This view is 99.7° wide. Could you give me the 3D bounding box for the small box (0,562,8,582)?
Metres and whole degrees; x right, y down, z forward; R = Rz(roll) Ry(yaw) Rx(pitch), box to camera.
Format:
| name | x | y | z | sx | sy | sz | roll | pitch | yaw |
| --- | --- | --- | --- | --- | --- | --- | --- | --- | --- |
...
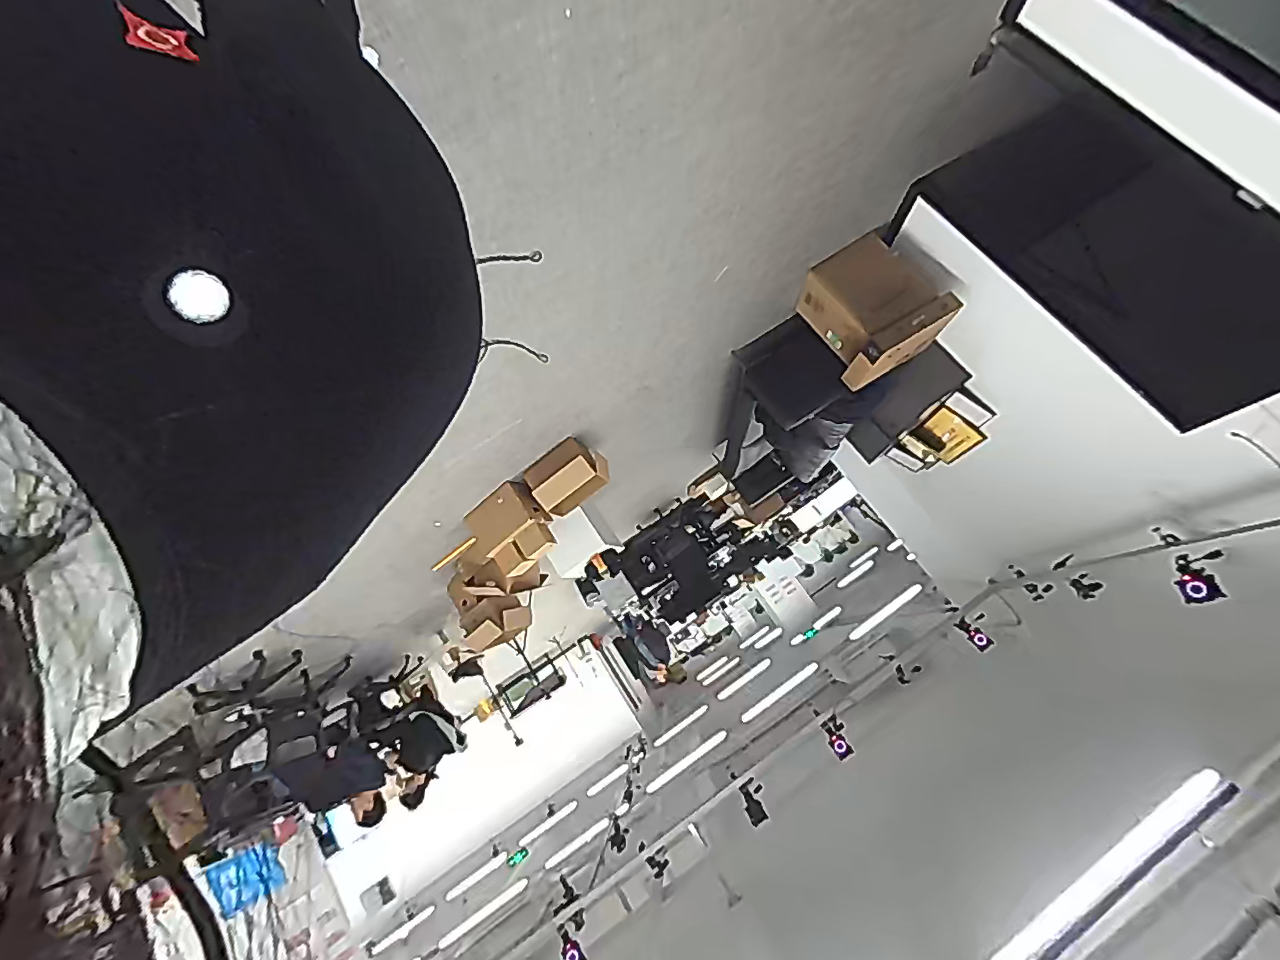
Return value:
| name | x | y | z | sx | sy | sz | roll | pitch | yaw |
| --- | --- | --- | --- | --- | --- | --- | --- | --- | --- |
| small box | -1.738 | 0.202 | 1.322 | 0.179 | 0.176 | 0.168 | -33 | 165 | -8 |
